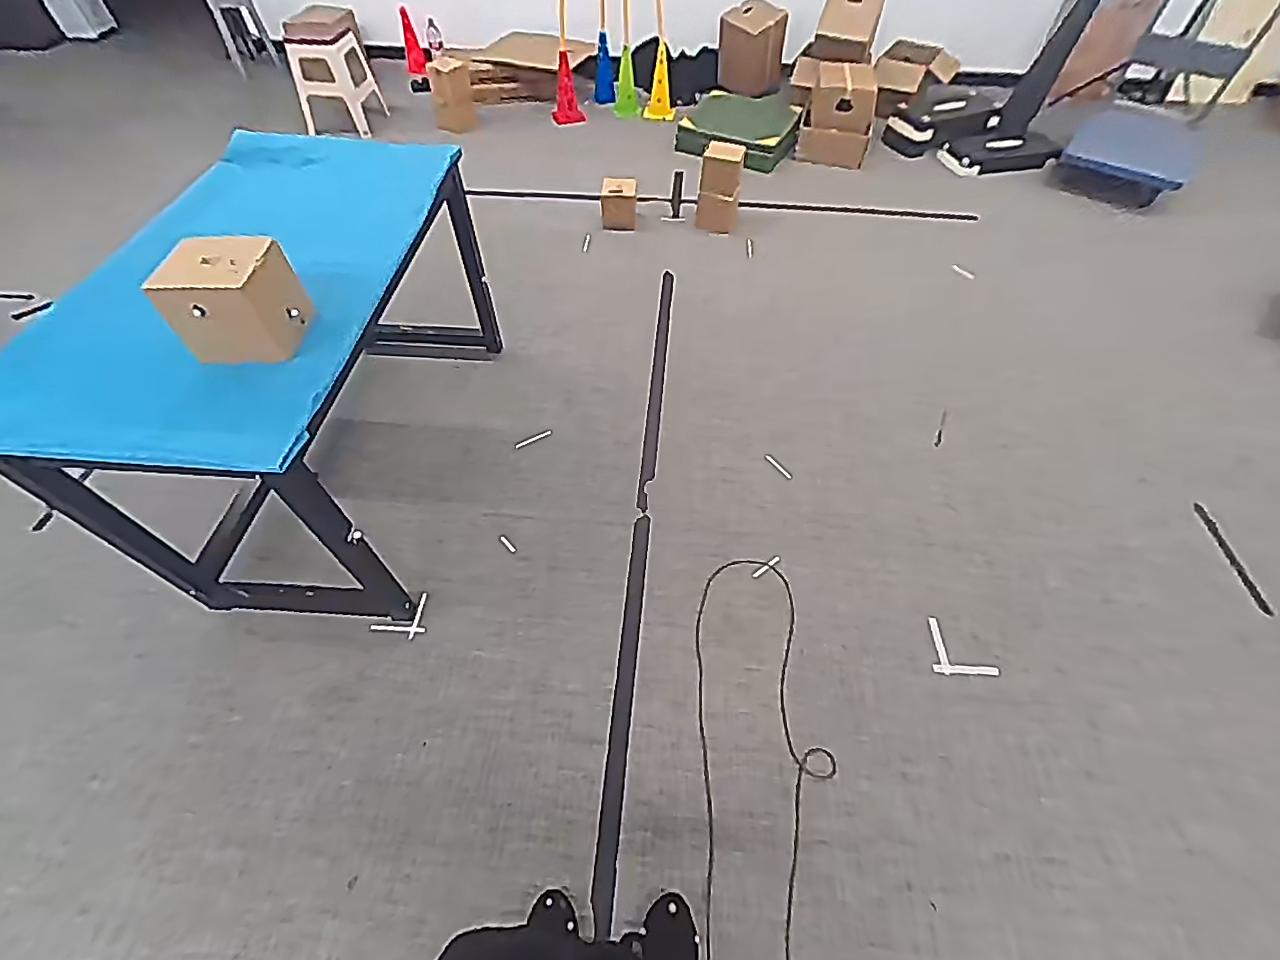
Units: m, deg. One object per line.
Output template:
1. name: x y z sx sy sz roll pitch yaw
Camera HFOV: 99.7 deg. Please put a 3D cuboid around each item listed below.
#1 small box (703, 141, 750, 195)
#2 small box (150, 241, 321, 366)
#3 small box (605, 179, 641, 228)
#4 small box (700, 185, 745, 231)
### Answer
1. small box: 0.413 -1.502 2.606 0.179 0.176 0.168 16 56 9
2. small box: -0.769 -0.340 1.053 0.179 0.176 0.168 3 55 -1
3. small box: -0.083 -1.388 2.719 0.168 0.176 0.179 3 53 2
4. small box: 0.411 -1.382 2.723 0.179 0.176 0.168 18 55 10
